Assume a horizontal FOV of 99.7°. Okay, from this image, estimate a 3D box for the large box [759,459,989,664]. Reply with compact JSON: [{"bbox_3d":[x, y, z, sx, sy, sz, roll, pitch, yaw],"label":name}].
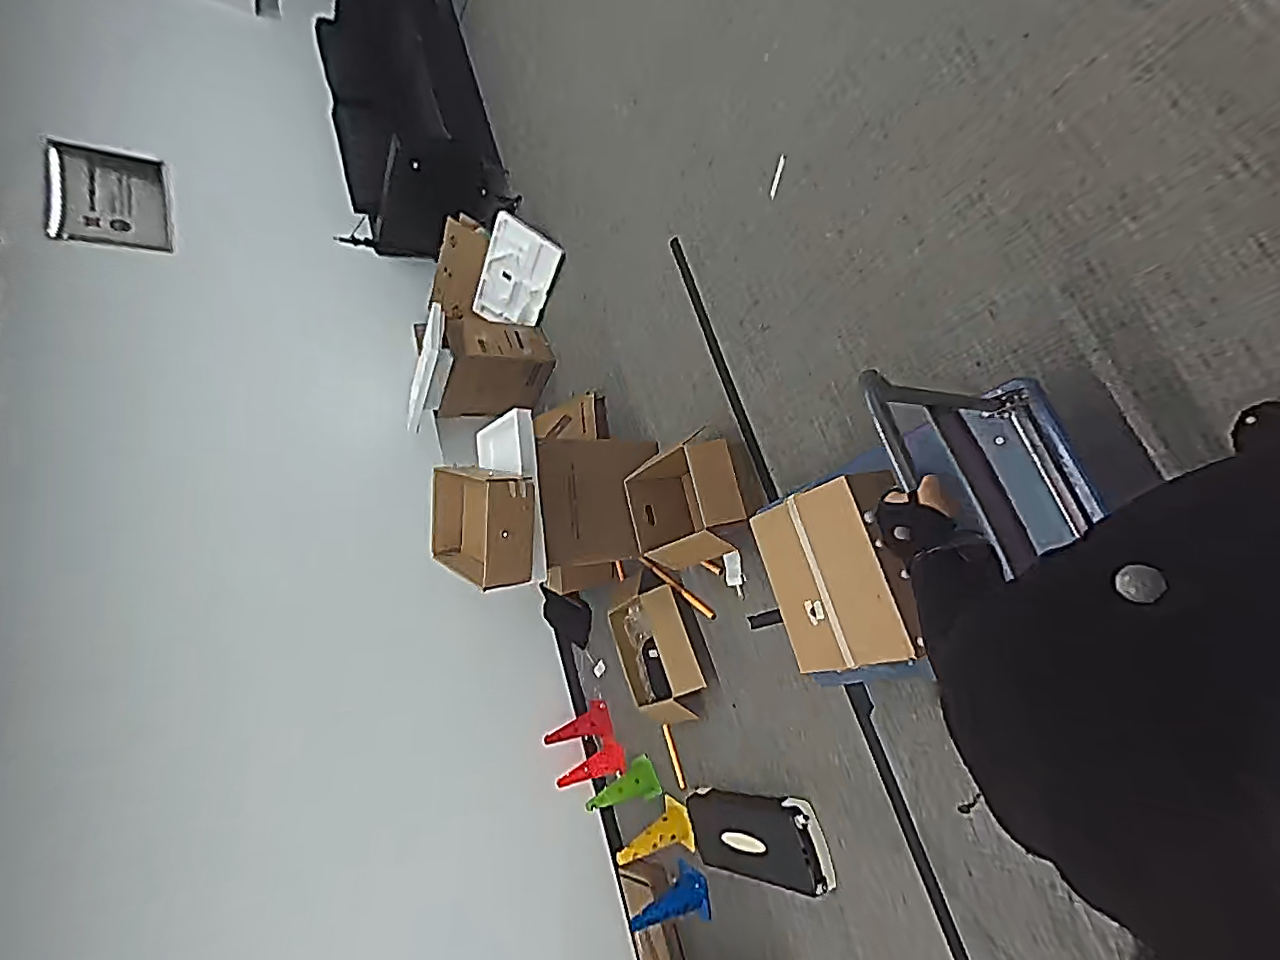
[{"bbox_3d":[0.564,0.195,1.336,0.320,0.320,0.408,-36,66,51],"label":"large box"}]
